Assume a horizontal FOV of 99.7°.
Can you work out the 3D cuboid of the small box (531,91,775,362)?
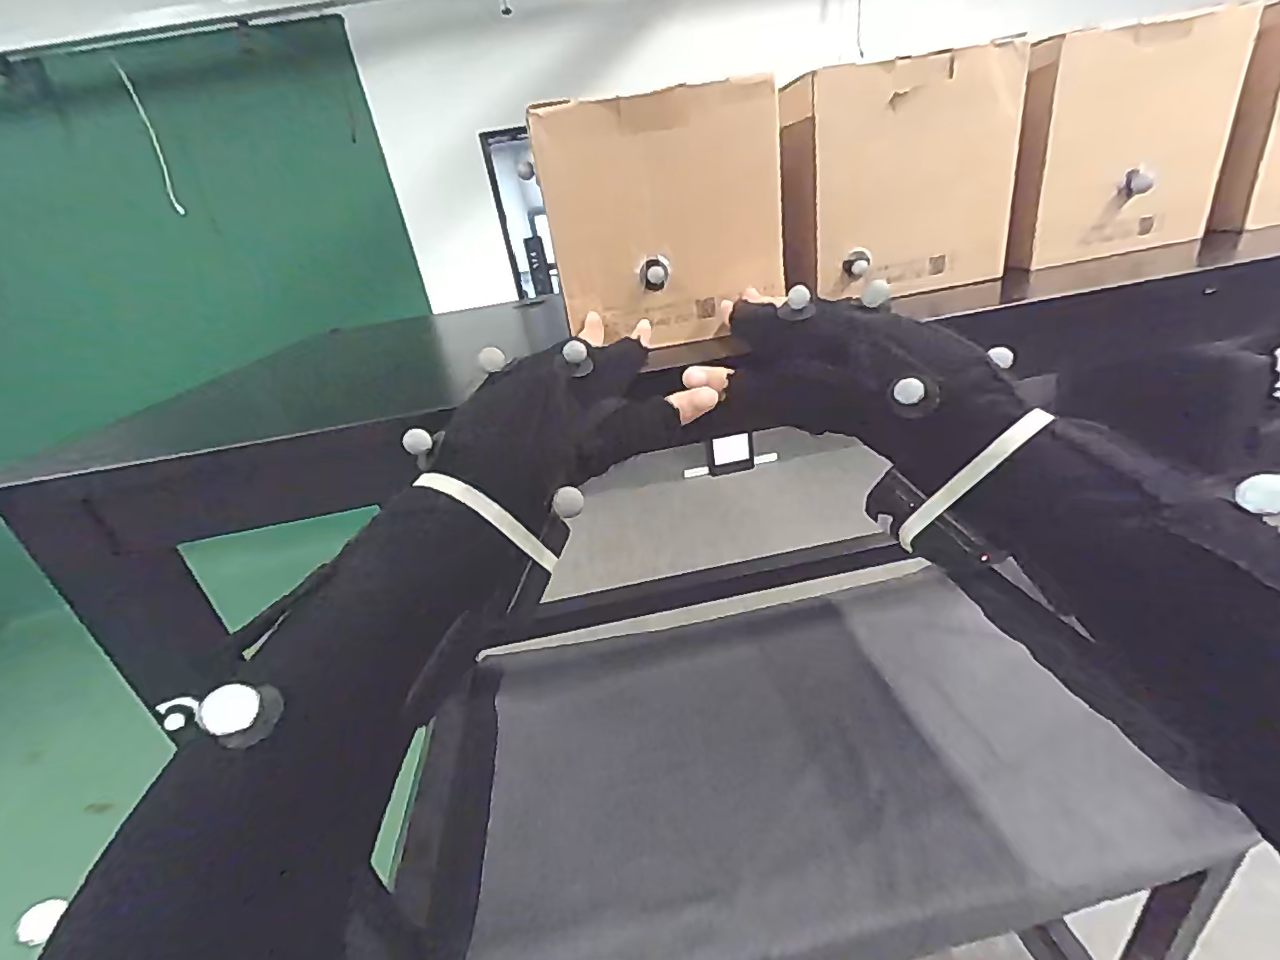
[{"bbox_3d":[0.009,-0.207,0.468,0.168,0.176,0.179,-10,25,-3],"label":"small box"}]
